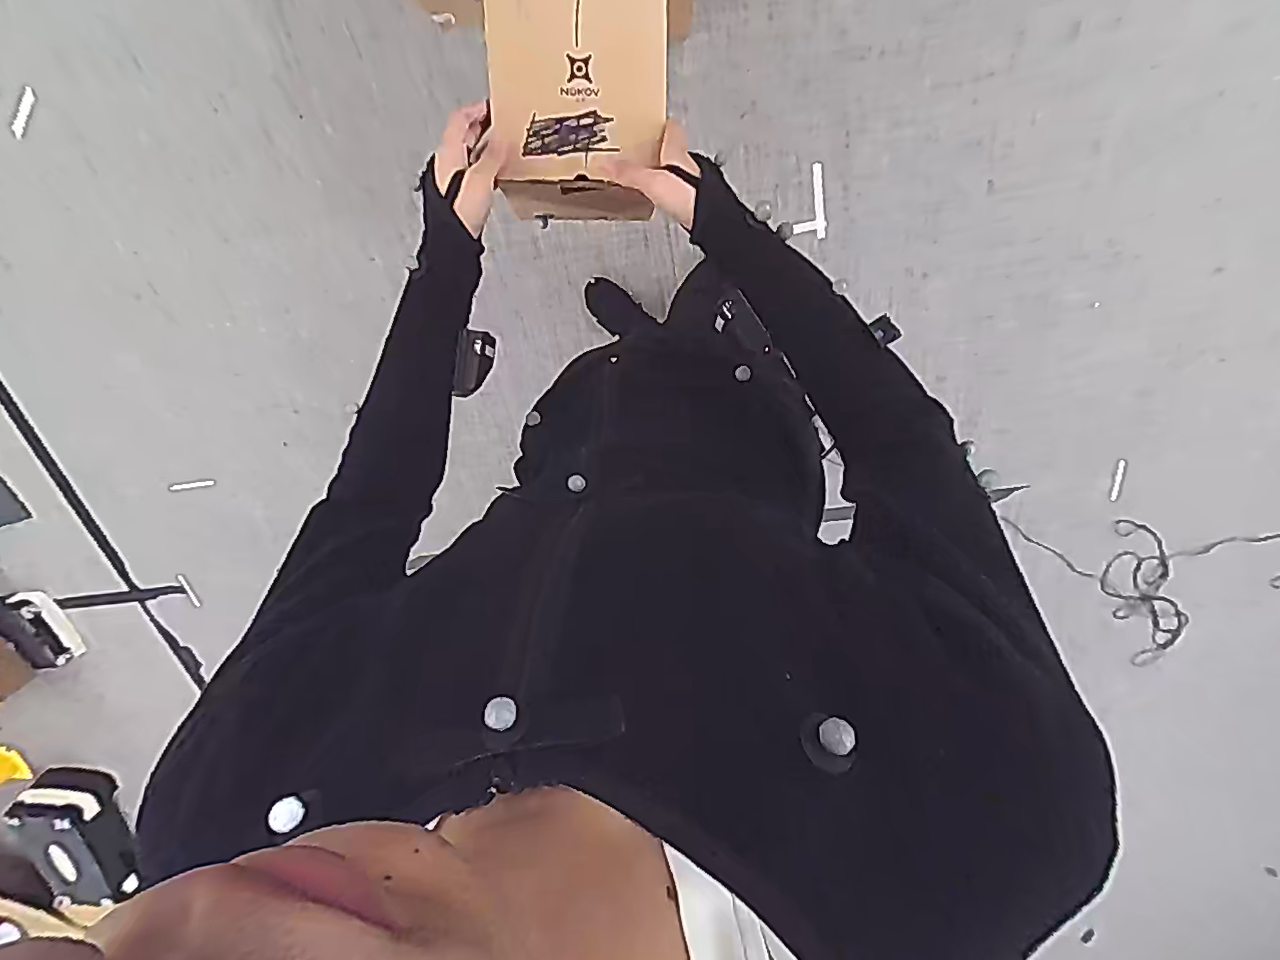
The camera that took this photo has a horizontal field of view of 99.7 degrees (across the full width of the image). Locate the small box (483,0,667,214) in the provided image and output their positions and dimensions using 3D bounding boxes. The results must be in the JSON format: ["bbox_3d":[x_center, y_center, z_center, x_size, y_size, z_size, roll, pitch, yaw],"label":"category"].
[{"bbox_3d":[-0.063,-0.391,0.570,0.168,0.176,0.179,-2,104,-5],"label":"small box"}]
